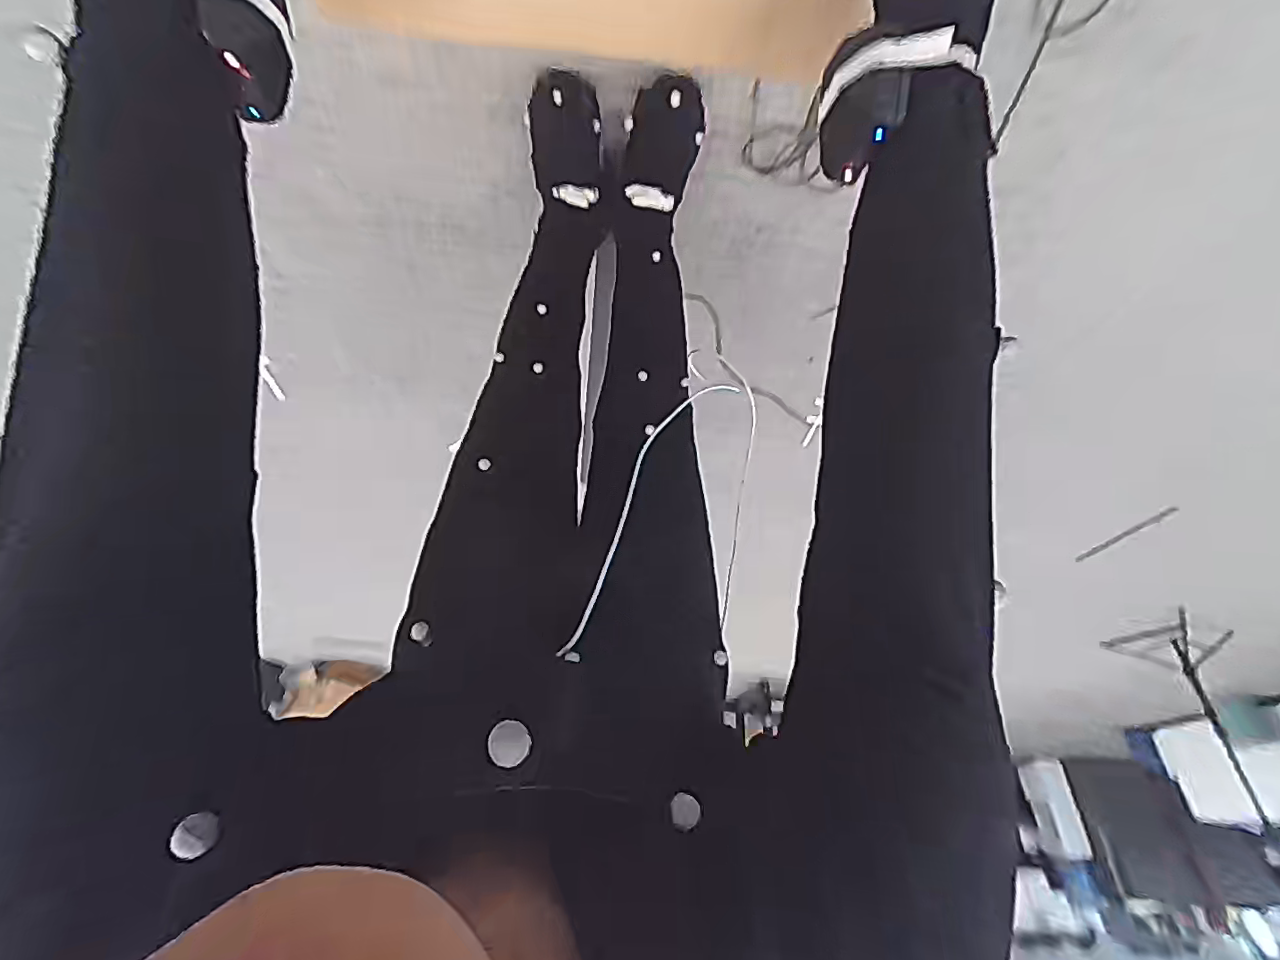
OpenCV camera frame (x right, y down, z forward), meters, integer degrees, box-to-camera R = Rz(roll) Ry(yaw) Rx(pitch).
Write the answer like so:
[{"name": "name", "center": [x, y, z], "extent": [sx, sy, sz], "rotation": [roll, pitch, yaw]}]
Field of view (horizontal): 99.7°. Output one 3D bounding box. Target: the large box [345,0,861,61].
[{"name": "large box", "center": [-0.019, -0.562, 0.400], "extent": [0.408, 0.320, 0.320], "rotation": [4, 144, -3]}]
